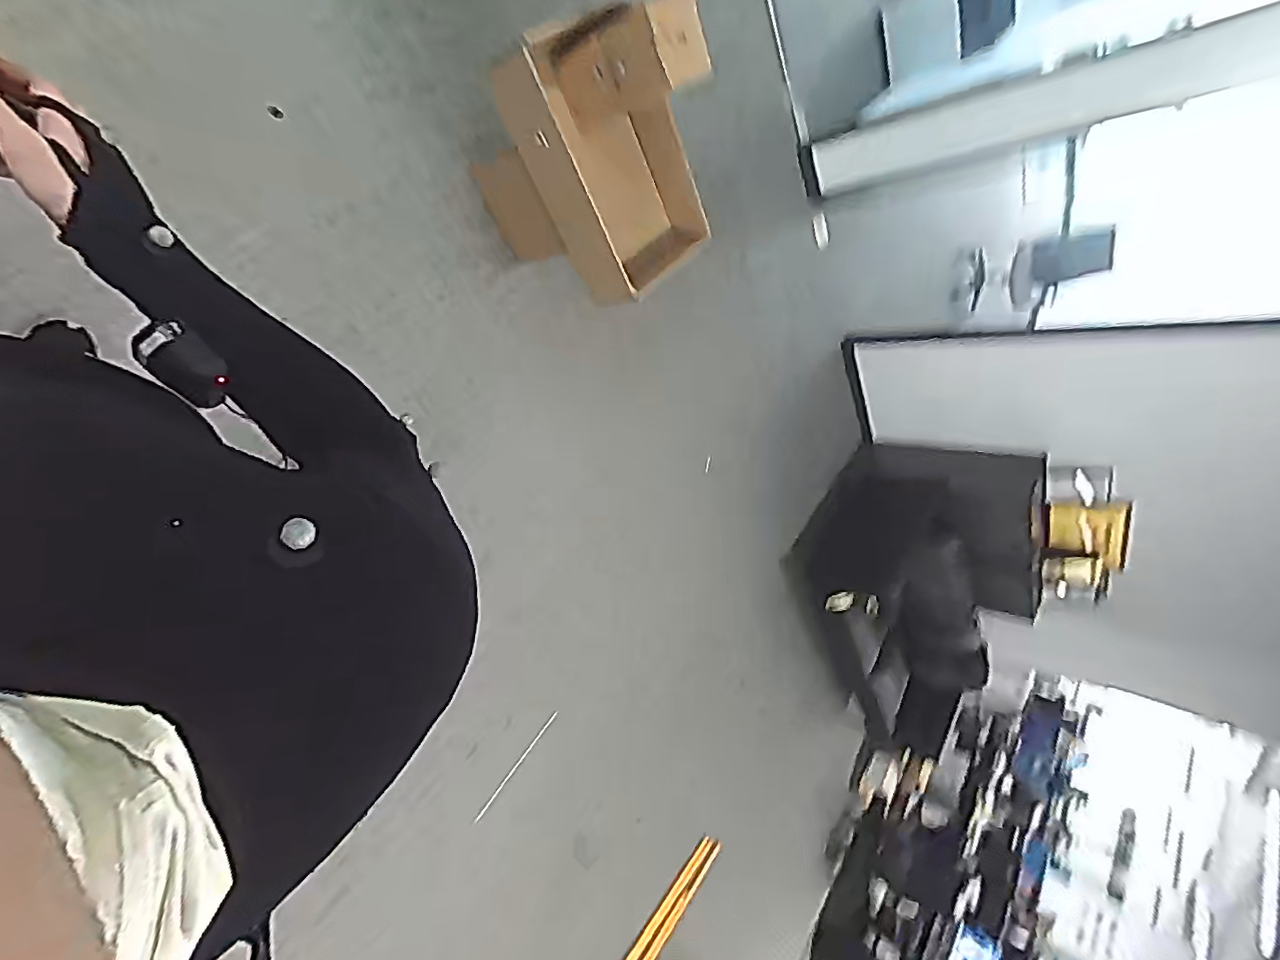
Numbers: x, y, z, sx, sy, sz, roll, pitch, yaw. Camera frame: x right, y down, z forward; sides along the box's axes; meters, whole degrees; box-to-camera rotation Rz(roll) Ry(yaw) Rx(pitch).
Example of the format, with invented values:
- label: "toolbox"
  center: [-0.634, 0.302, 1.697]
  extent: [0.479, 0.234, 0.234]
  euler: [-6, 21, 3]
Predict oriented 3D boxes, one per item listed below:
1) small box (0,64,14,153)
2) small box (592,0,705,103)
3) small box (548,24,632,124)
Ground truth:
- label: "small box"
  center: [-0.563, -0.353, 0.359]
  extent: [0.168, 0.176, 0.179]
  euler: [-14, 107, -44]
- label: "small box"
  center: [0.020, -1.017, 1.260]
  extent: [0.179, 0.176, 0.168]
  euler: [-45, 127, -30]
- label: "small box"
  center: [-0.098, -1.041, 1.372]
  extent: [0.179, 0.176, 0.168]
  euler: [-48, 128, -29]
